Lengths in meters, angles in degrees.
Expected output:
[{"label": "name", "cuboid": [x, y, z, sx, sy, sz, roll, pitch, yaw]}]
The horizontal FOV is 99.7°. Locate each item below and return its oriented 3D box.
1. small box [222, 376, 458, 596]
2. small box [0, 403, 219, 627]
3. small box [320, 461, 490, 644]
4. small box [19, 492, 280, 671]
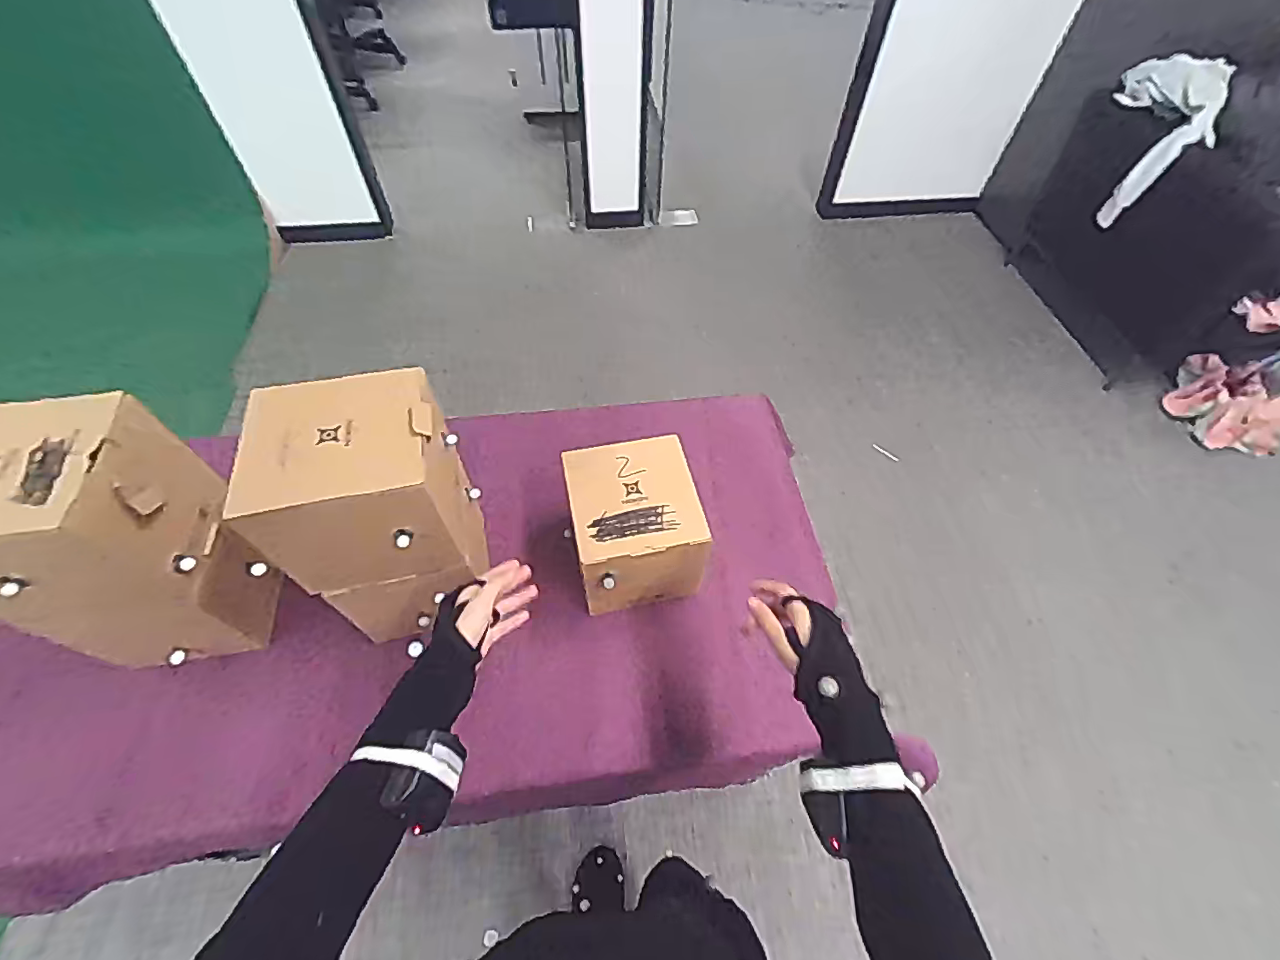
[{"label": "small box", "cuboid": [-0.309, 0.011, 0.605, 0.179, 0.176, 0.168, -10, 55, -8]}, {"label": "small box", "cuboid": [-0.601, 0.042, 0.572, 0.179, 0.176, 0.168, -7, 56, -6]}, {"label": "small box", "cuboid": [-0.311, 0.101, 0.742, 0.168, 0.176, 0.179, -12, 57, -9]}, {"label": "small box", "cuboid": [-0.606, 0.136, 0.707, 0.179, 0.176, 0.168, -7, 55, -7]}]
